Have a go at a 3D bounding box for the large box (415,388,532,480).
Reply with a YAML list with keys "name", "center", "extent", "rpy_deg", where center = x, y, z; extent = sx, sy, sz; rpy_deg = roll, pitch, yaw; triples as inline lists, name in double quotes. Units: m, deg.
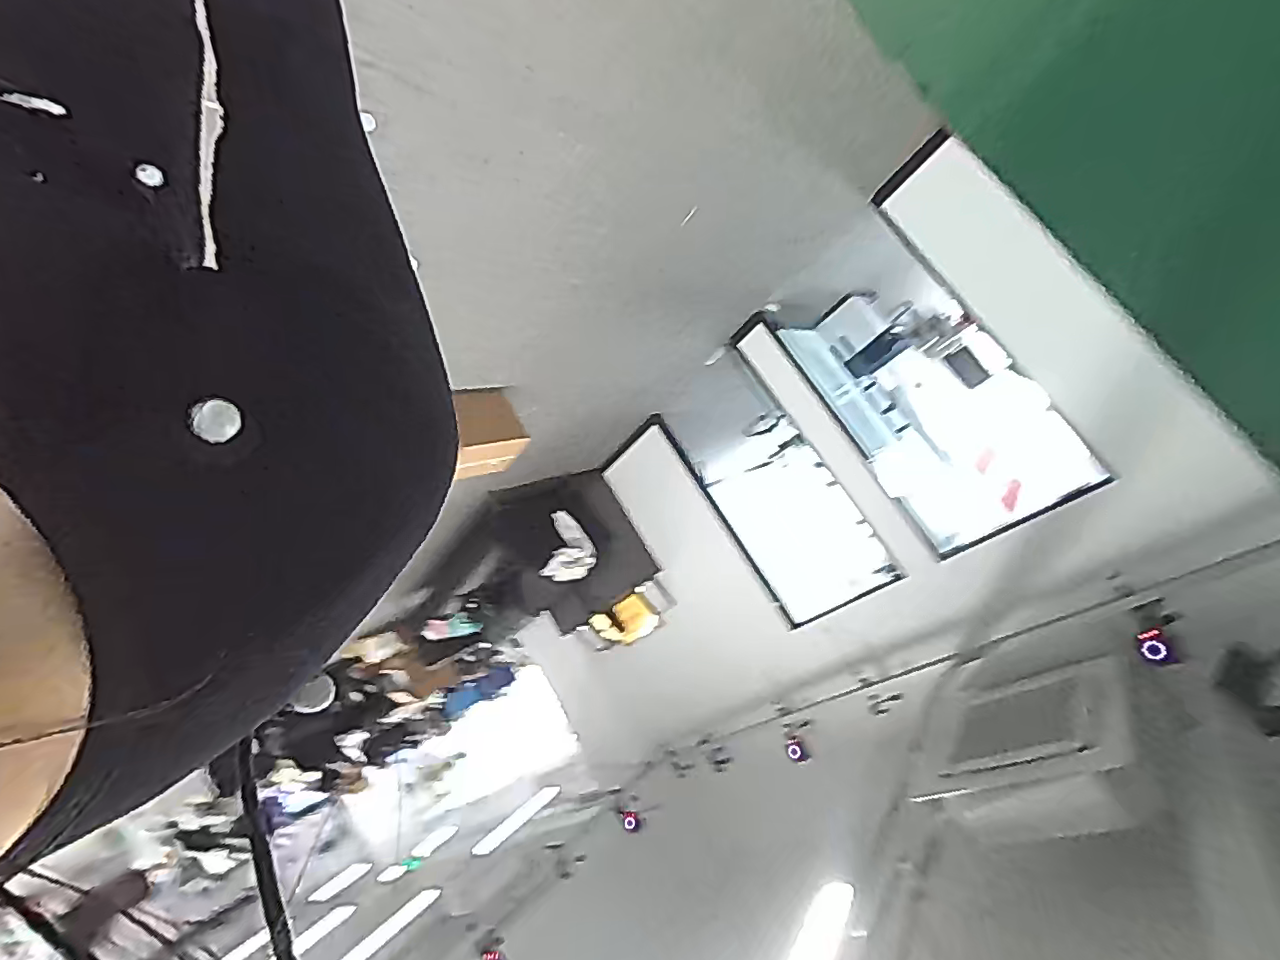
- name: "large box"
  center: [-0.838, -0.239, 2.714]
  extent: [0.320, 0.320, 0.408]
  rpy_deg: [-40, 166, 36]
